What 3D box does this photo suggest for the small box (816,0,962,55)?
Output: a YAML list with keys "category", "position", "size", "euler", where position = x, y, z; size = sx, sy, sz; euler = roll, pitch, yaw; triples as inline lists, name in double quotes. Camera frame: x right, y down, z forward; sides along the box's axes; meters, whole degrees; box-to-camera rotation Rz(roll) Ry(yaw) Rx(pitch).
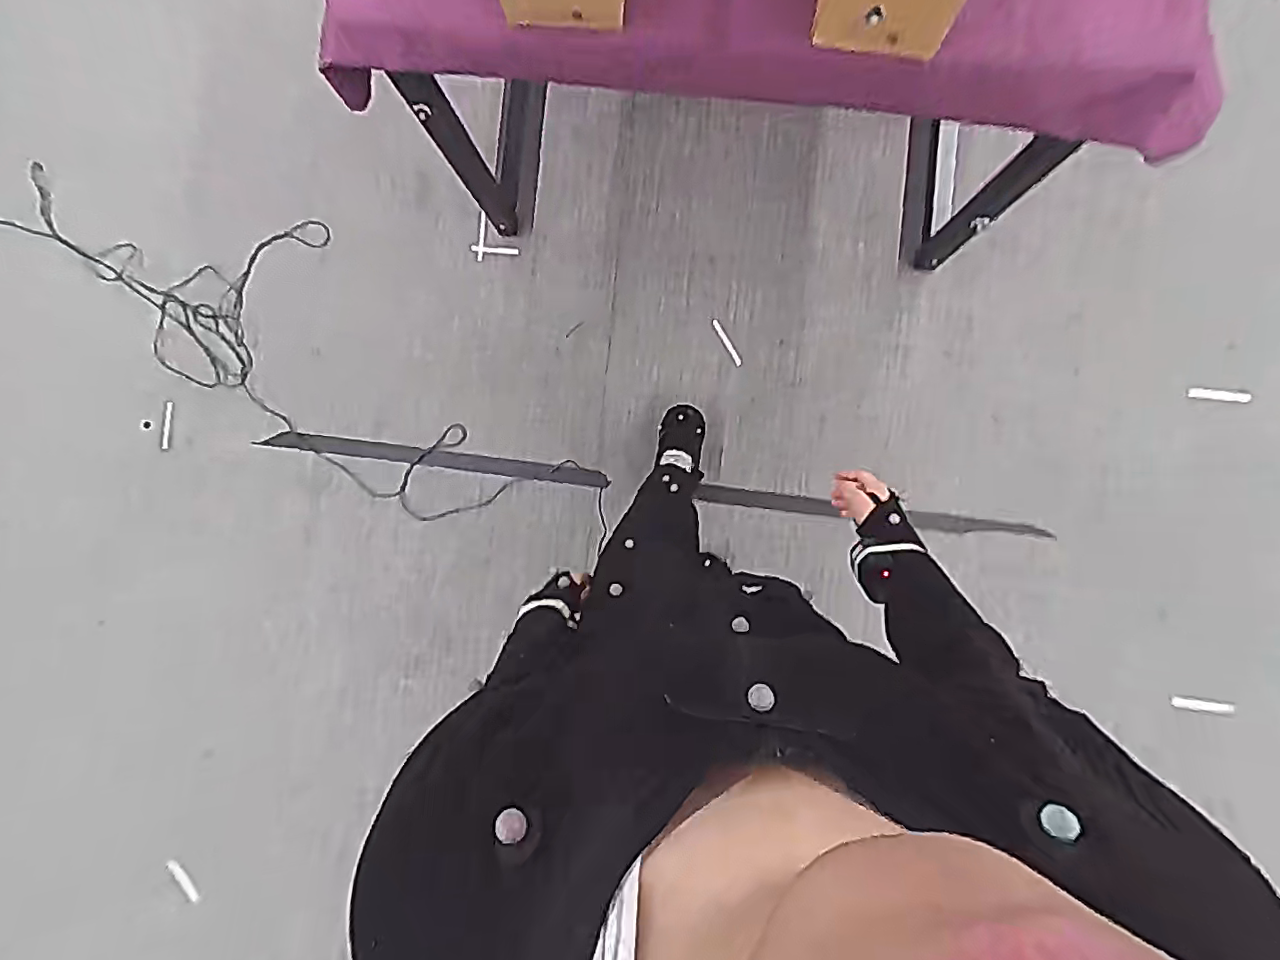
- category: "small box"
  position: [0.327, -0.678, 0.659]
  size: [0.168, 0.176, 0.179]
  euler: [11, 89, 4]
